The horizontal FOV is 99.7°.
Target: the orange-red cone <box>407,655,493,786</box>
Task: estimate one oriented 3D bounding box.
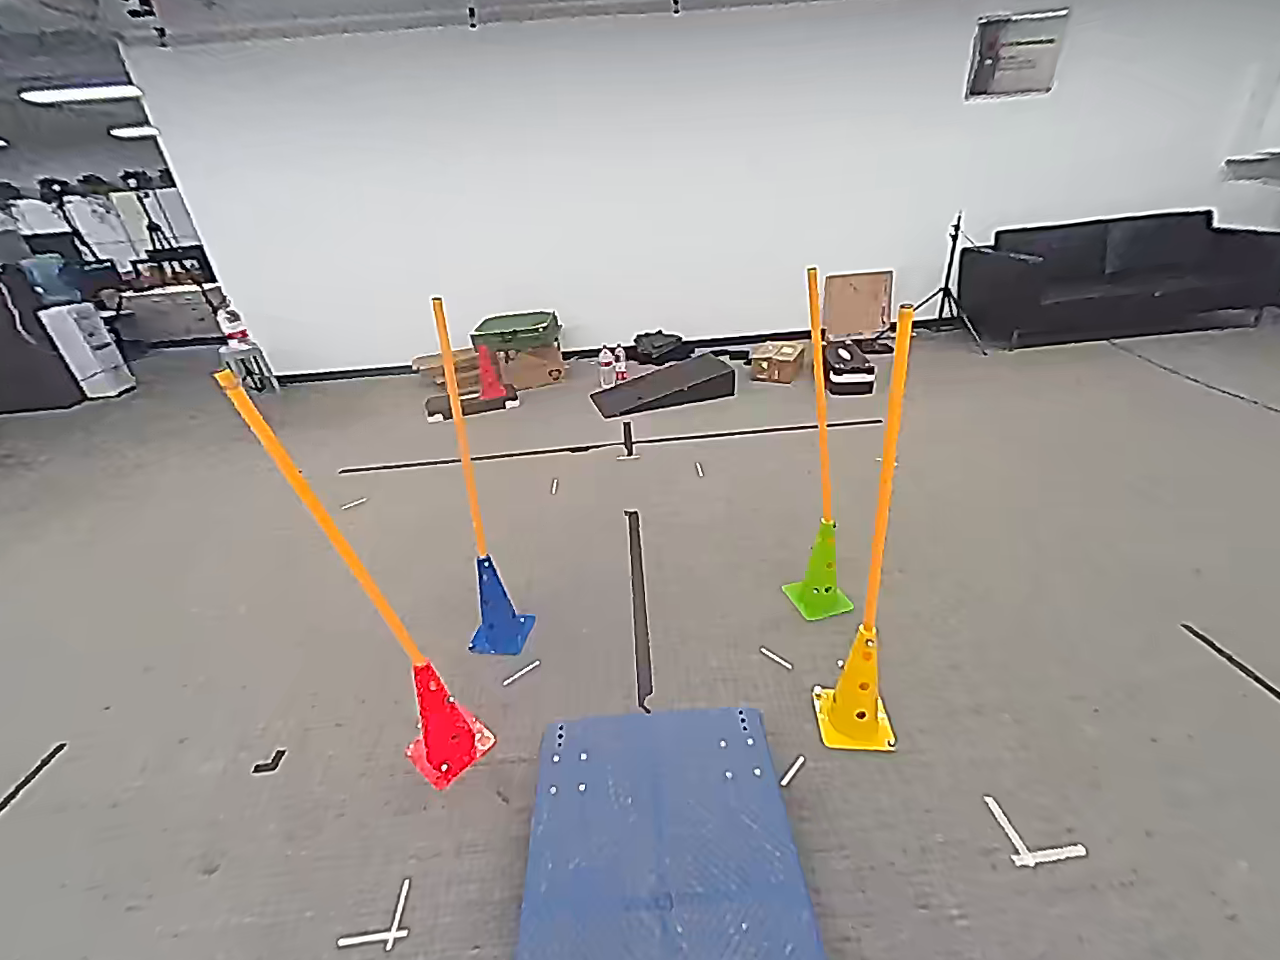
[{"bbox_3d":[-0.568,0.629,1.508,0.198,0.360,0.199,21,37,37],"label":"orange-red cone"}]

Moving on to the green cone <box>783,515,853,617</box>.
[{"bbox_3d":[0.658,0.284,1.952,0.200,0.368,0.202,-12,31,-13],"label":"green cone"}]

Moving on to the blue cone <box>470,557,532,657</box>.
[{"bbox_3d":[-0.515,0.424,1.898,0.193,0.380,0.192,2,31,12],"label":"blue cone"}]
